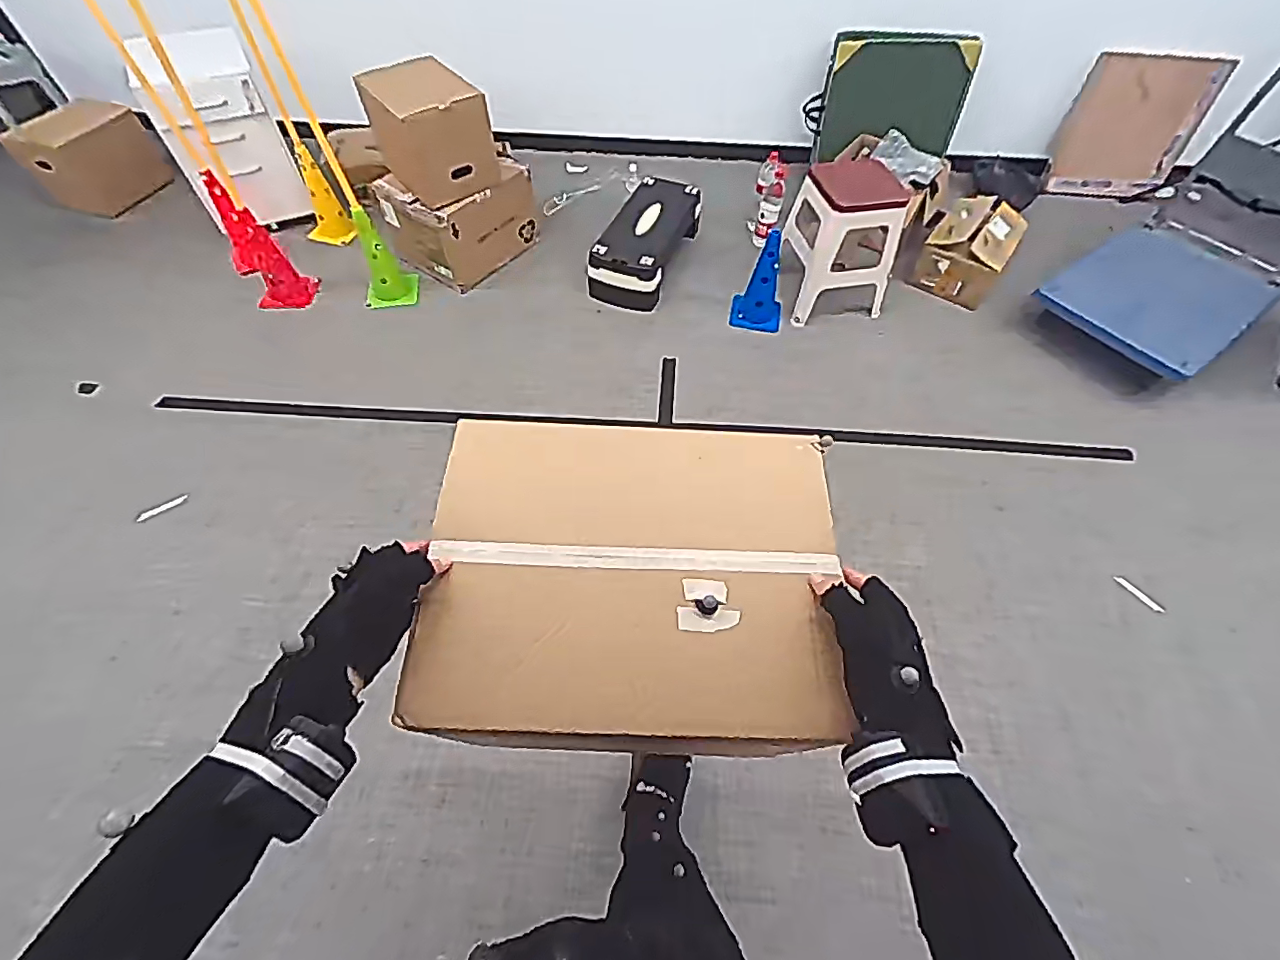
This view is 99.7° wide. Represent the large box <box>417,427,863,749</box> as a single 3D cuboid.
[{"bbox_3d":[-0.005,0.153,0.674,0.408,0.320,0.320,3,61,-2],"label":"large box"}]
